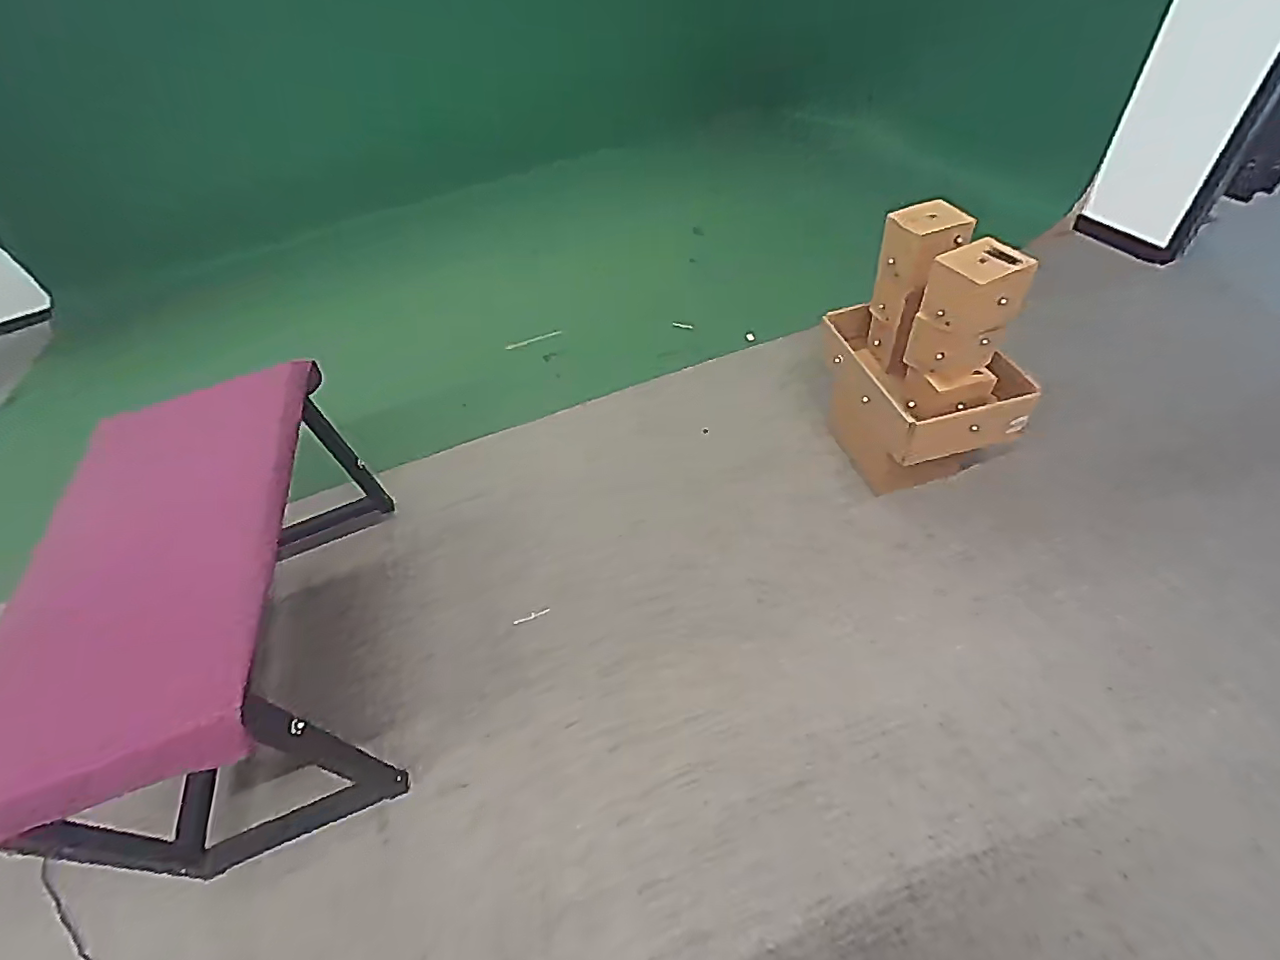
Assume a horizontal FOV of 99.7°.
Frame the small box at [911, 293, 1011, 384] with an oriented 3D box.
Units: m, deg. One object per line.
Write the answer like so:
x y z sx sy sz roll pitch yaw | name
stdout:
0.914 -0.405 1.563 0.179 0.176 0.168 -27 50 -13 | small box

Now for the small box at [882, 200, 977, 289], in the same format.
0.854 -0.702 1.618 0.179 0.176 0.168 -16 48 -2 | small box

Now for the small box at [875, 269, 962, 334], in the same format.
0.887 -0.600 1.742 0.179 0.176 0.168 -17 48 -2 | small box
